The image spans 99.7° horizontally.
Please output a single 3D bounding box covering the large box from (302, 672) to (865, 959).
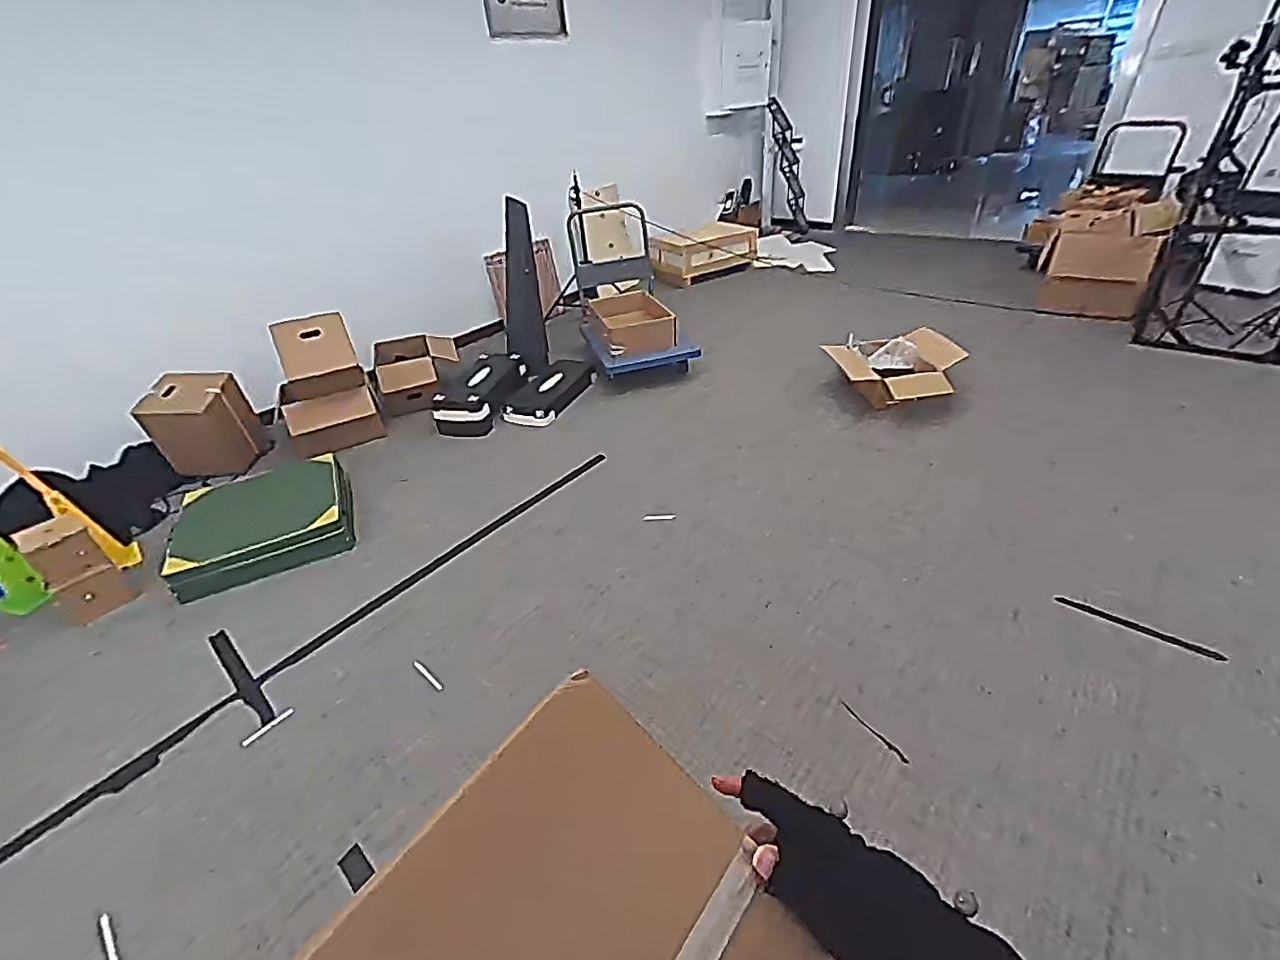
[{"bbox_3d":[-0.100,0.415,0.358,0.320,0.320,0.408,43,56,8],"label":"large box"}]
